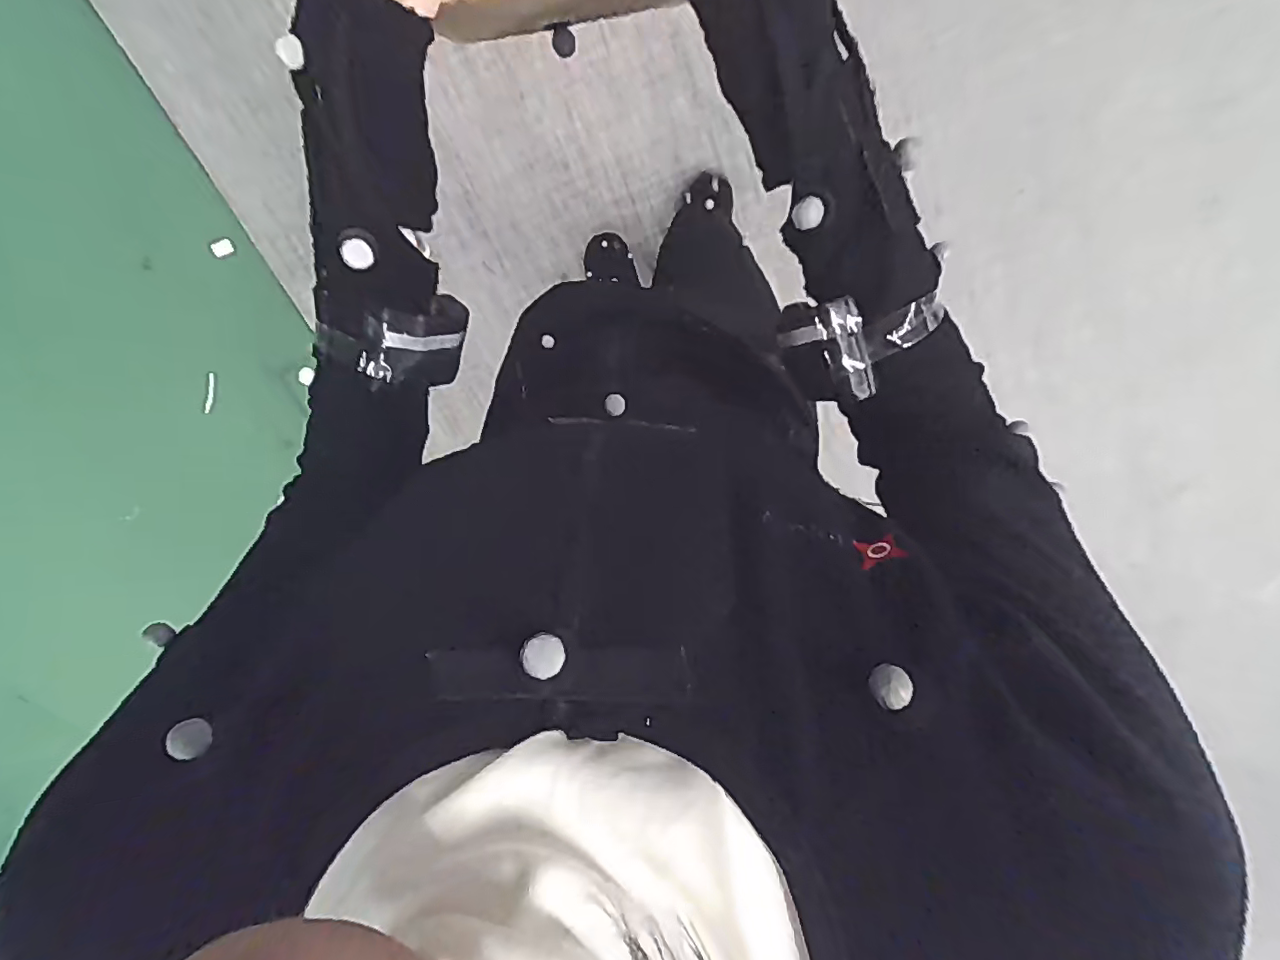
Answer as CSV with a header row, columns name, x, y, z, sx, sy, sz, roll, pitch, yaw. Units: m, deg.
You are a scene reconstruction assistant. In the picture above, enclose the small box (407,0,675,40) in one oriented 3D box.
name,x,y,z,sx,sy,sz,roll,pitch,yaw
small box,-0.053,-0.355,0.273,0.168,0.176,0.179,-9,125,4
